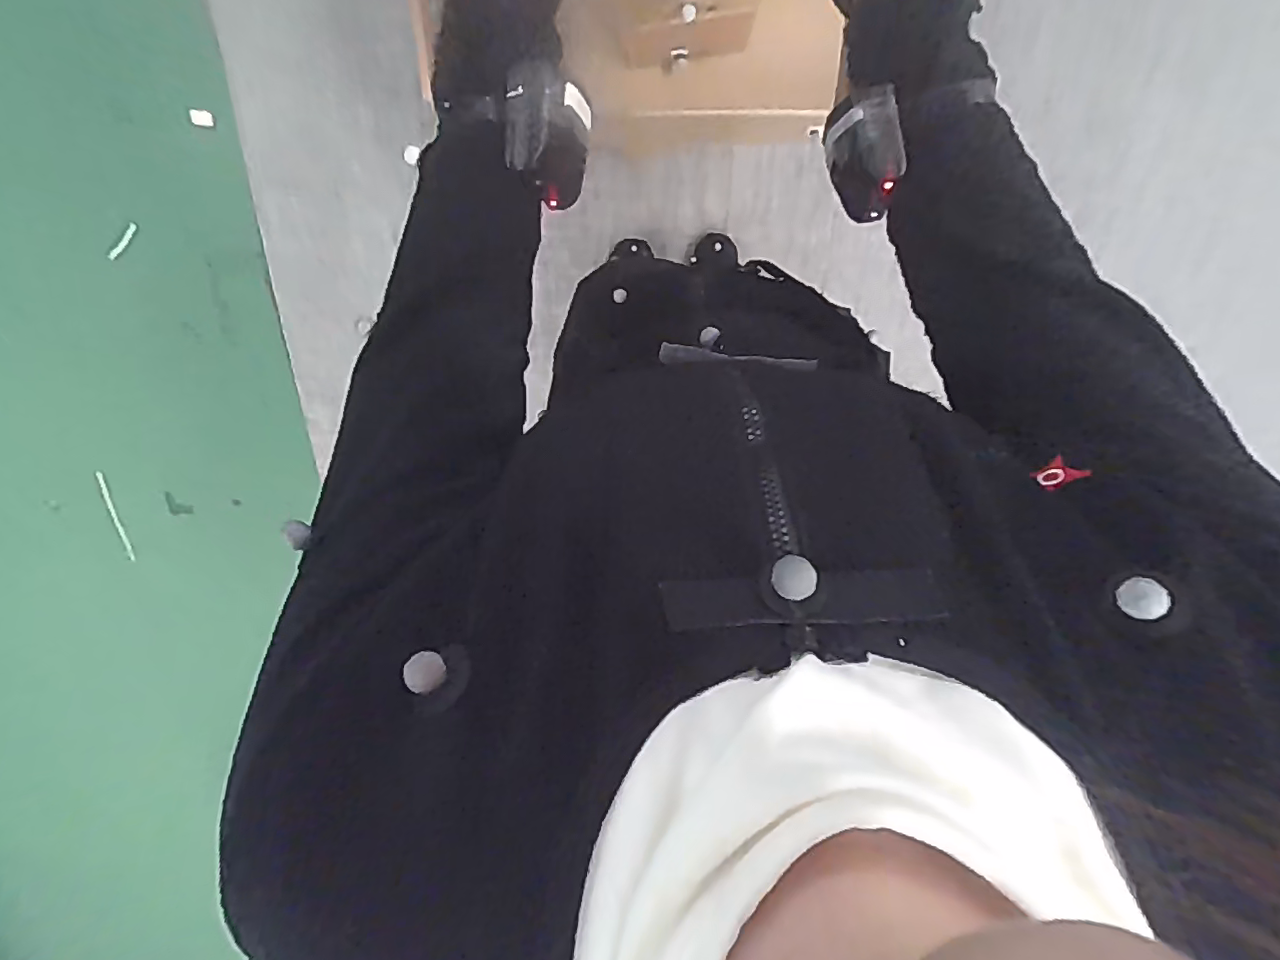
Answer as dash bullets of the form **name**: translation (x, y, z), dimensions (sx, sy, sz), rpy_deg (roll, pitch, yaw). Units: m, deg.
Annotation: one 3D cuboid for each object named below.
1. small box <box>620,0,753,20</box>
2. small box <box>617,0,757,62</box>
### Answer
- **small box**: translation (0.044, -0.590, 0.521), dimensions (0.168, 0.176, 0.179), rpy_deg (-3, 114, 6)
- **small box**: translation (0.053, -0.656, 0.671), dimensions (0.168, 0.176, 0.179), rpy_deg (-3, 115, 6)
